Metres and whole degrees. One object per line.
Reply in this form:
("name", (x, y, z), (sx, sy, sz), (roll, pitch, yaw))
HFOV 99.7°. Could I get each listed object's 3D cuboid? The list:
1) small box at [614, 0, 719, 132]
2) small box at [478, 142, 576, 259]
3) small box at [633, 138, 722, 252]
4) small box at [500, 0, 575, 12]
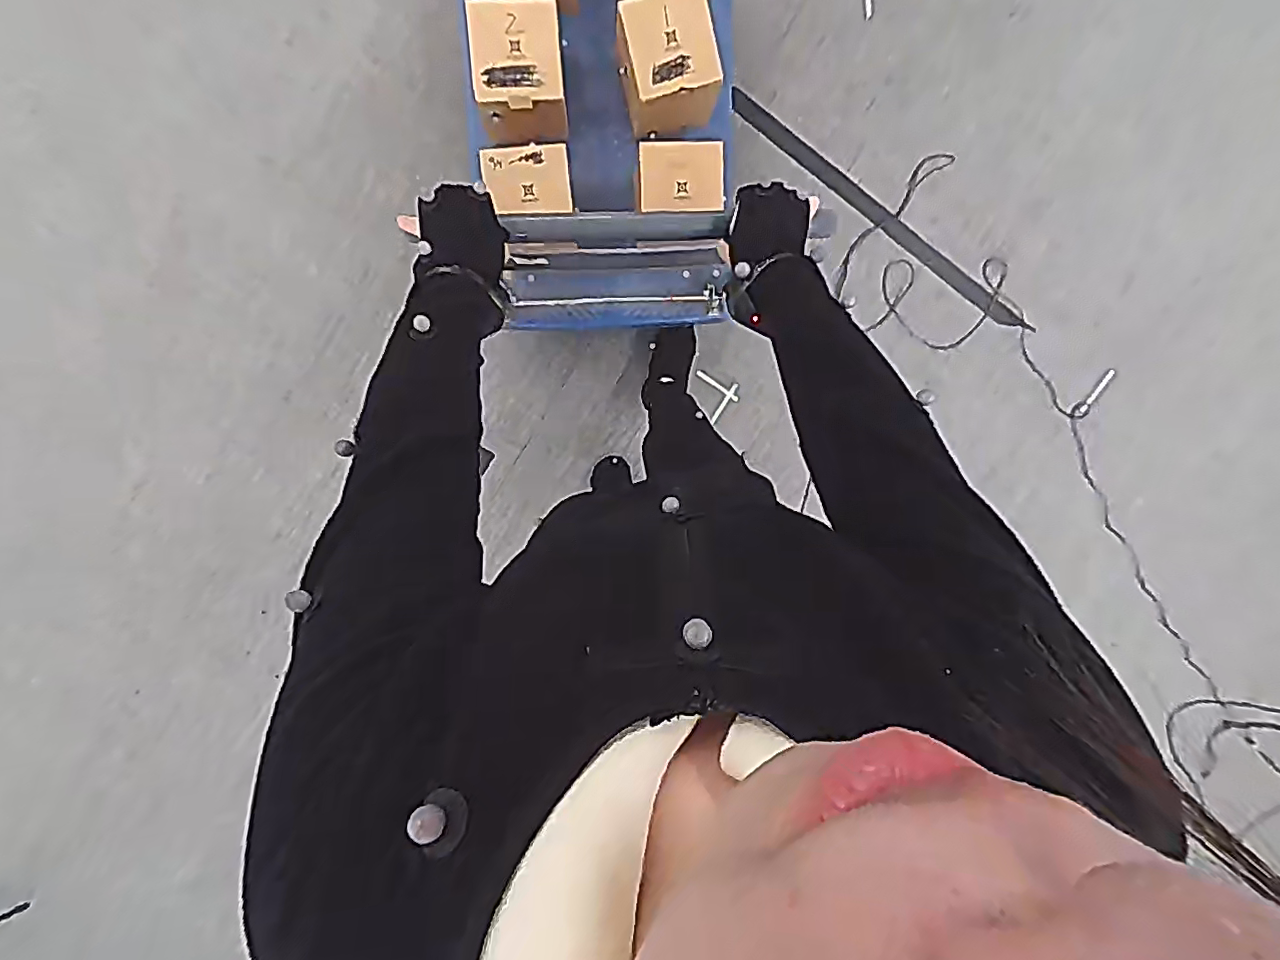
("small box", (0.048, -0.839, 1.093), (0.168, 0.176, 0.179), (-15, 99, -2))
("small box", (-0.223, -0.564, 1.114), (0.168, 0.176, 0.179), (-7, 100, -4))
("small box", (0.074, -0.586, 1.136), (0.168, 0.176, 0.179), (-3, 98, -5))
("small box", (-0.211, -1.057, 1.037), (0.168, 0.176, 0.179), (-2, 100, -4))
